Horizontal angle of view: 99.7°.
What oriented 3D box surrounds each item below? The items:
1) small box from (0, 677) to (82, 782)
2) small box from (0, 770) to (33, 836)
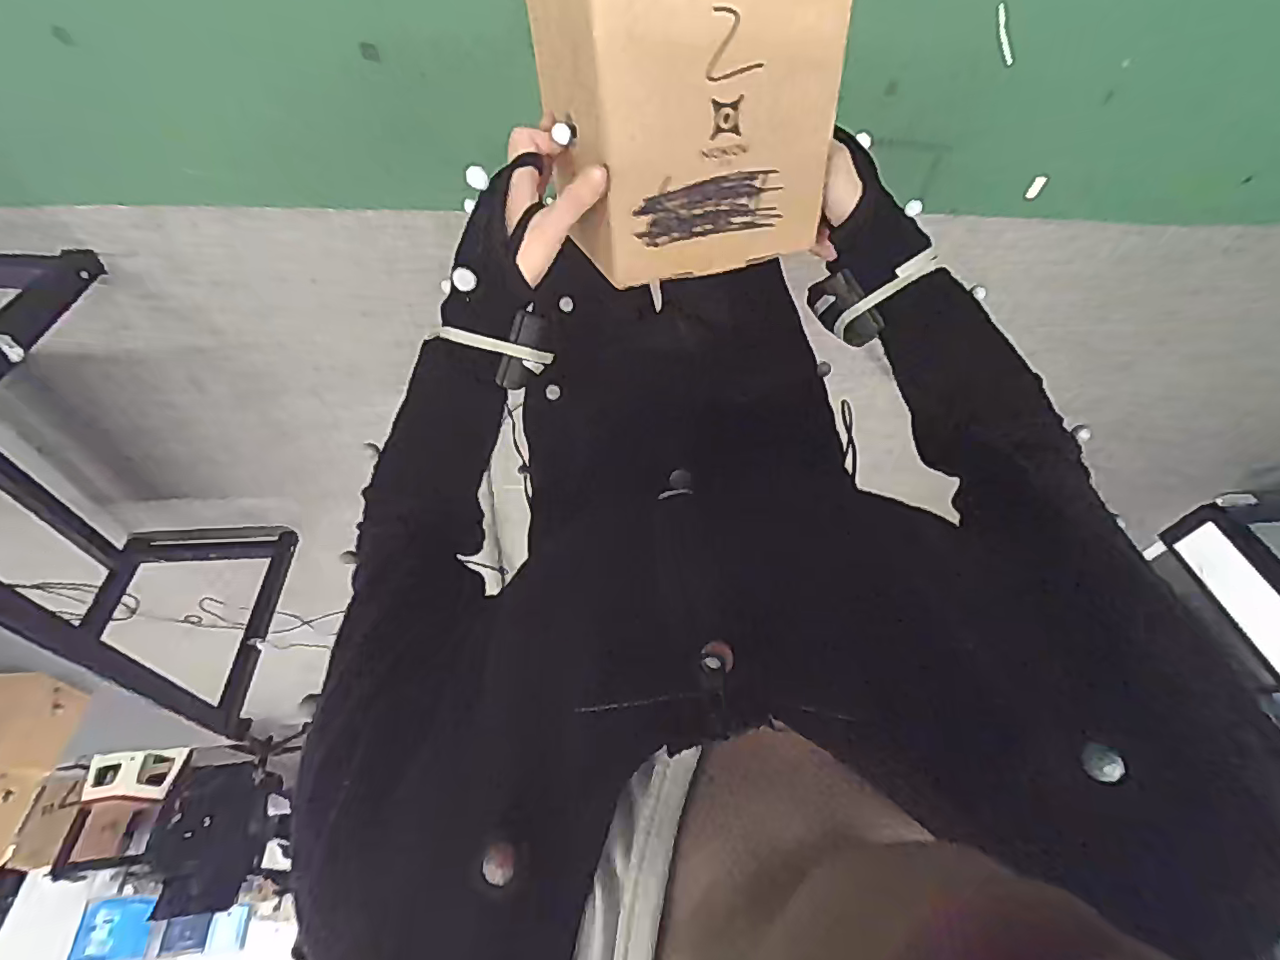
[{"bbox_3d":[-1.351,0.523,1.126,0.179,0.176,0.168,0,141,-8],"label":"small box"},{"bbox_3d":[-1.346,0.647,1.022,0.179,0.176,0.168,0,140,-8],"label":"small box"}]
